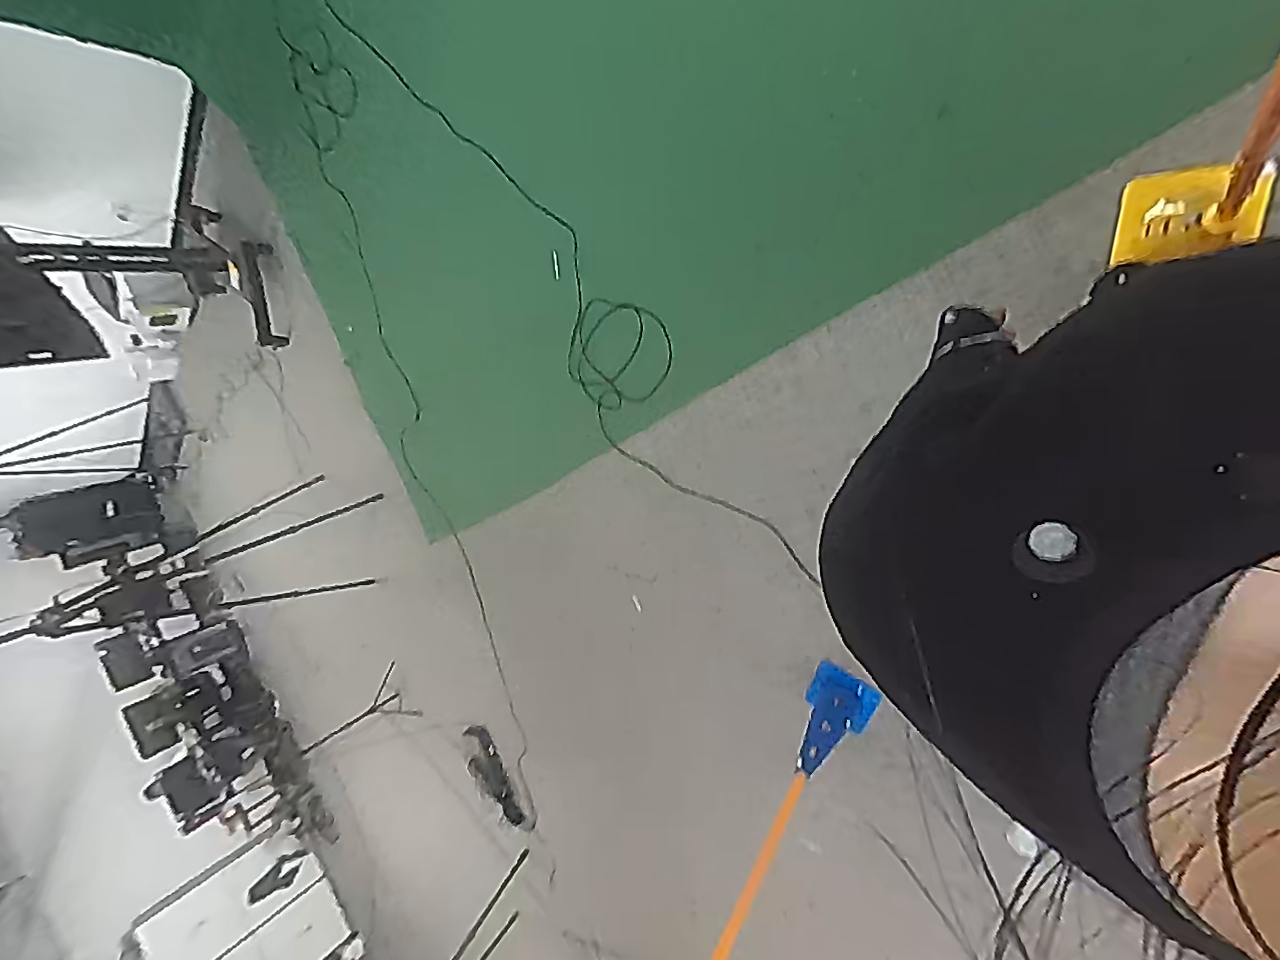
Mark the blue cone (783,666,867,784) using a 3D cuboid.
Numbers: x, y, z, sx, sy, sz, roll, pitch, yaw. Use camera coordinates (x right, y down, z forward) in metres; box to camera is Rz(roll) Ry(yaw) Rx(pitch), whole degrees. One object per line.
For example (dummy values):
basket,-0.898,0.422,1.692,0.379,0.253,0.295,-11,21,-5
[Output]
blue cone,0.527,0.763,1.621,0.192,0.380,0.193,26,123,27
